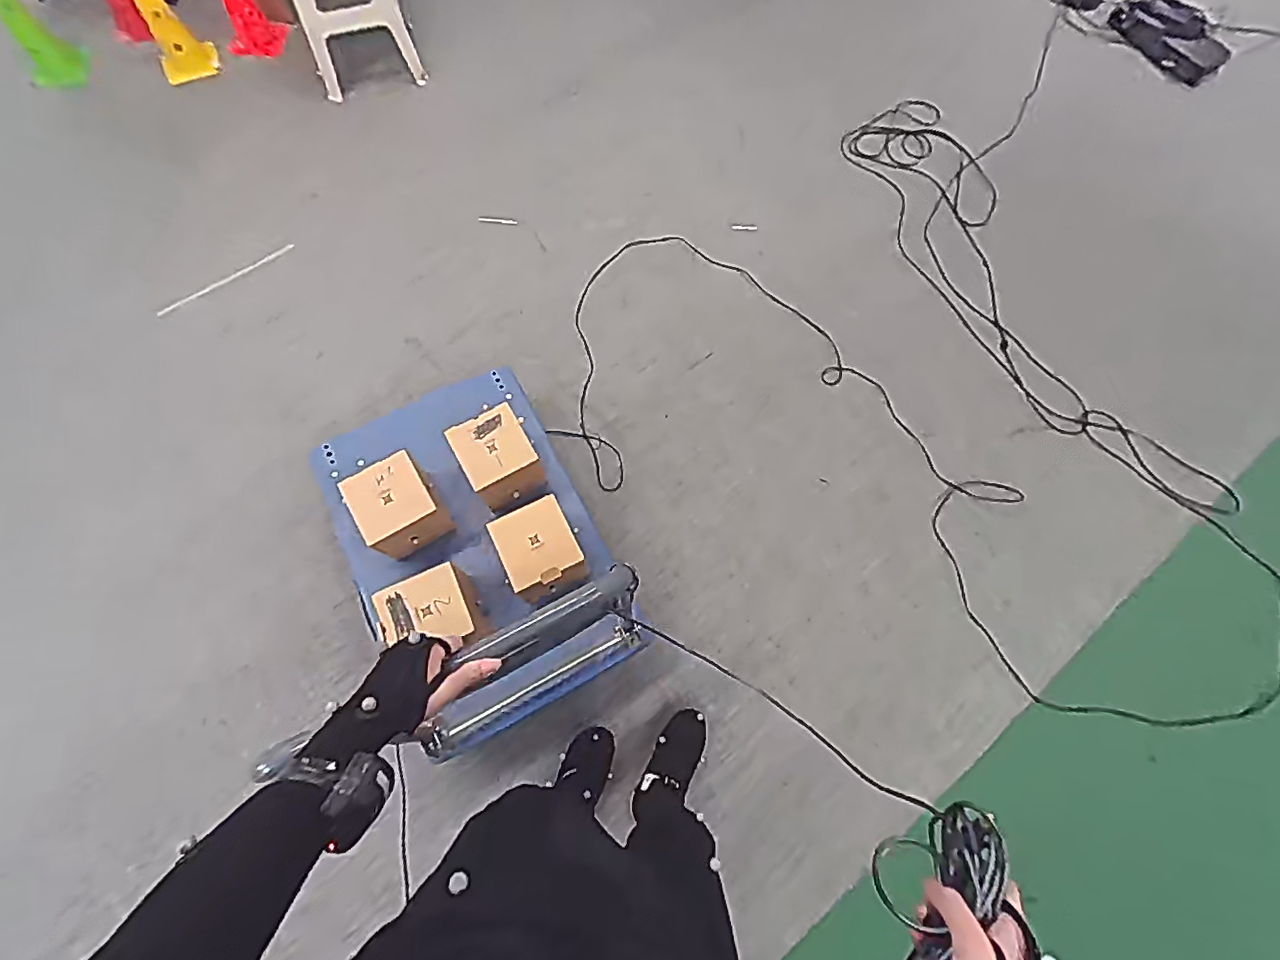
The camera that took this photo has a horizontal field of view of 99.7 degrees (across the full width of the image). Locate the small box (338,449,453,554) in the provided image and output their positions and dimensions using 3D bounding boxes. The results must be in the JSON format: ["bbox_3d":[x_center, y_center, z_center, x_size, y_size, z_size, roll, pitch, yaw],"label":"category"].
[{"bbox_3d":[-0.571,0.061,1.288,0.168,0.176,0.179,-30,74,-12],"label":"small box"}]

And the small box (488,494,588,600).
[{"bbox_3d":[-0.233,0.162,1.266,0.168,0.176,0.179,-25,74,-10],"label":"small box"}]

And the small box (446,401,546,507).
[{"bbox_3d":[-0.349,-0.058,1.337,0.168,0.176,0.179,-29,75,-11],"label":"small box"}]
